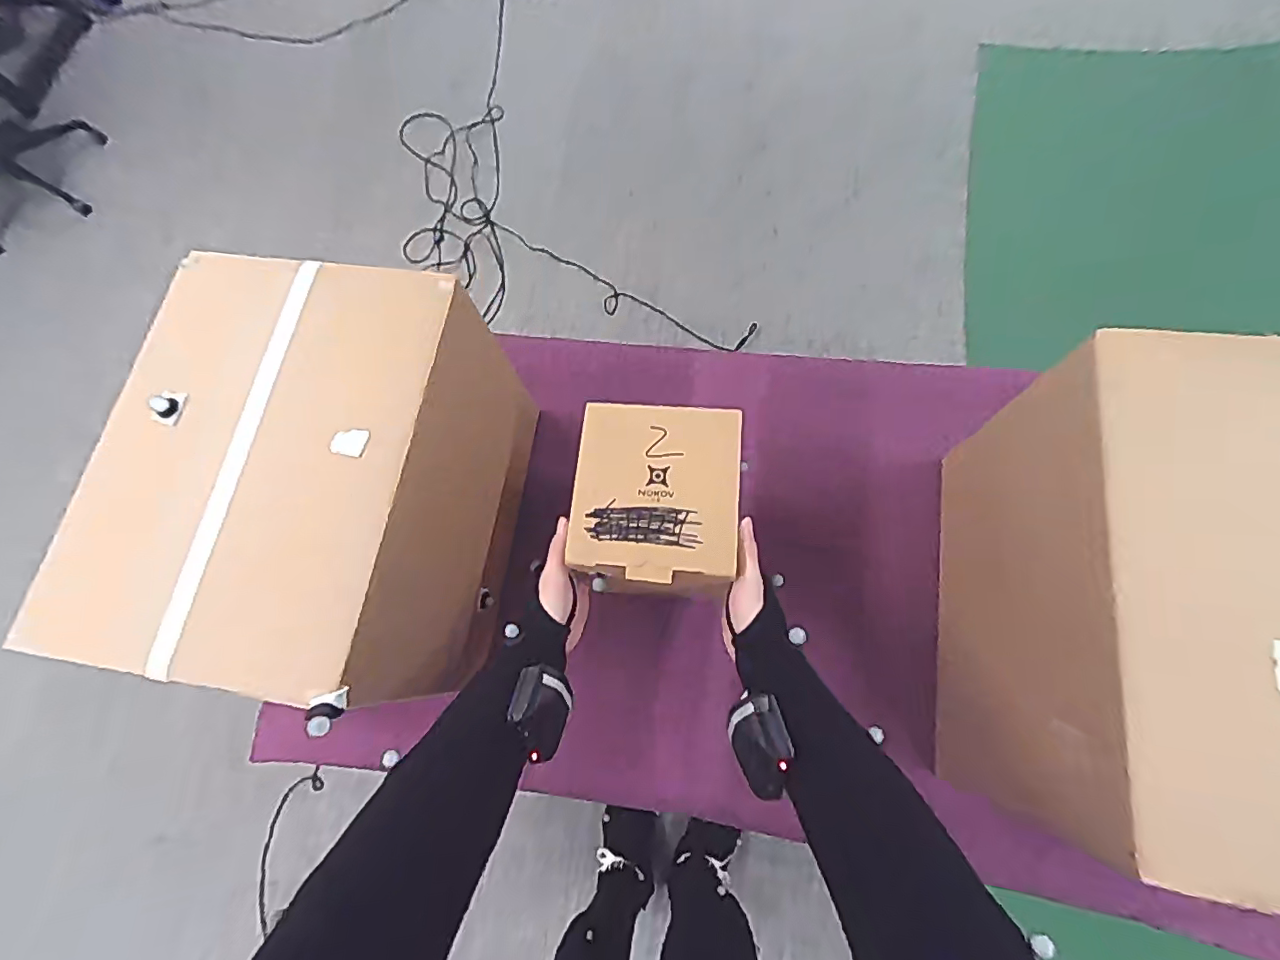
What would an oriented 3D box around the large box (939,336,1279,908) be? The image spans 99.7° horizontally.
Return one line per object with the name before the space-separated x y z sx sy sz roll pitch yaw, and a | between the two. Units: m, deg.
large box | 0.512 0.127 0.517 0.320 0.320 0.408 7 74 9
